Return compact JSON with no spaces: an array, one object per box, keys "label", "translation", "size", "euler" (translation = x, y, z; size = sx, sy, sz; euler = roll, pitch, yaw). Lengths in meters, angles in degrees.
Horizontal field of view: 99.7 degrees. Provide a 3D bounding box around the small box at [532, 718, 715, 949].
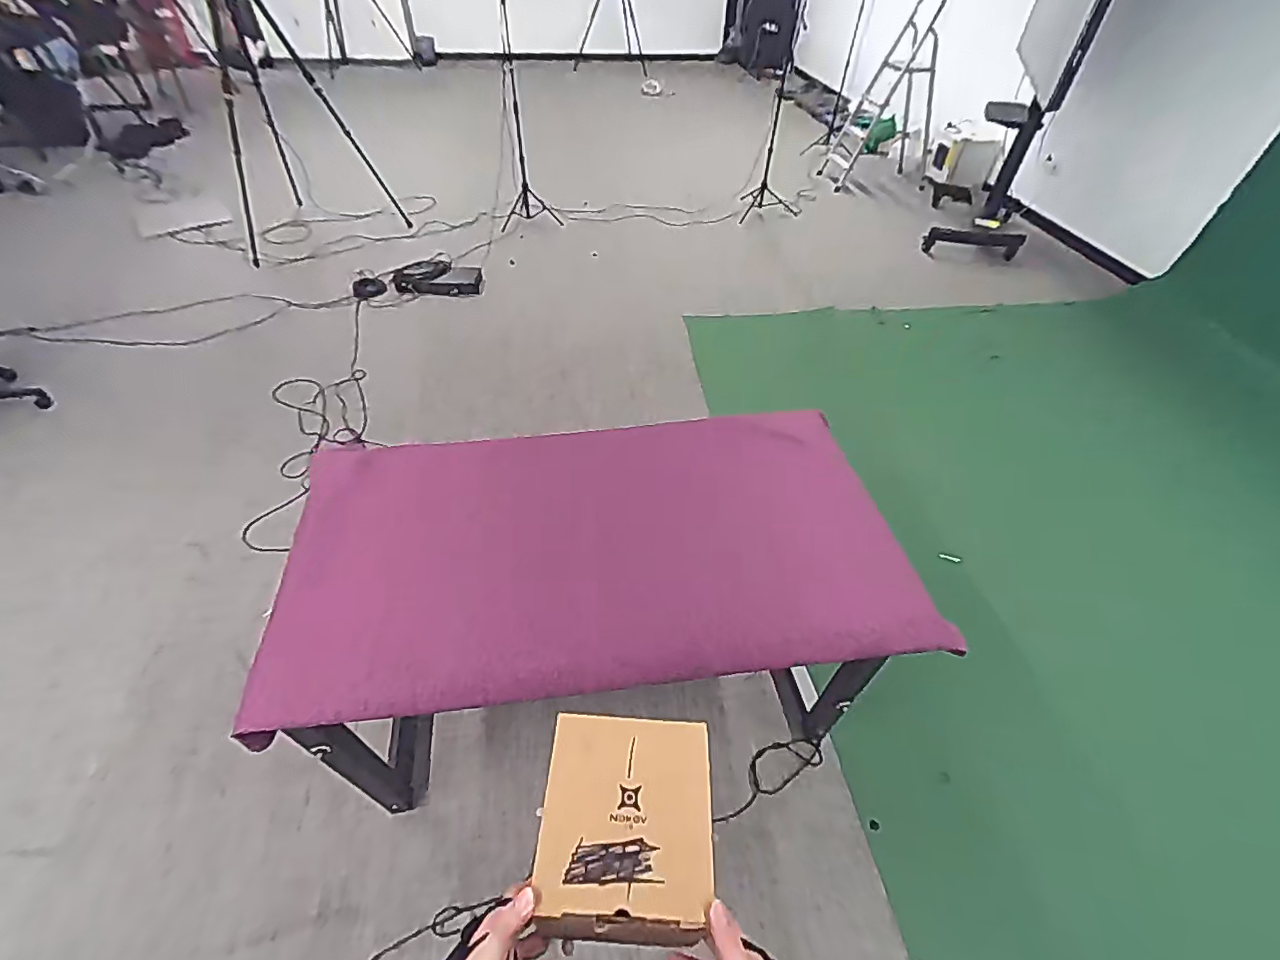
[{"label":"small box","translation":[-0.014,0.384,0.585],"size":[0.168,0.176,0.179],"euler":[5,44,-1]}]
